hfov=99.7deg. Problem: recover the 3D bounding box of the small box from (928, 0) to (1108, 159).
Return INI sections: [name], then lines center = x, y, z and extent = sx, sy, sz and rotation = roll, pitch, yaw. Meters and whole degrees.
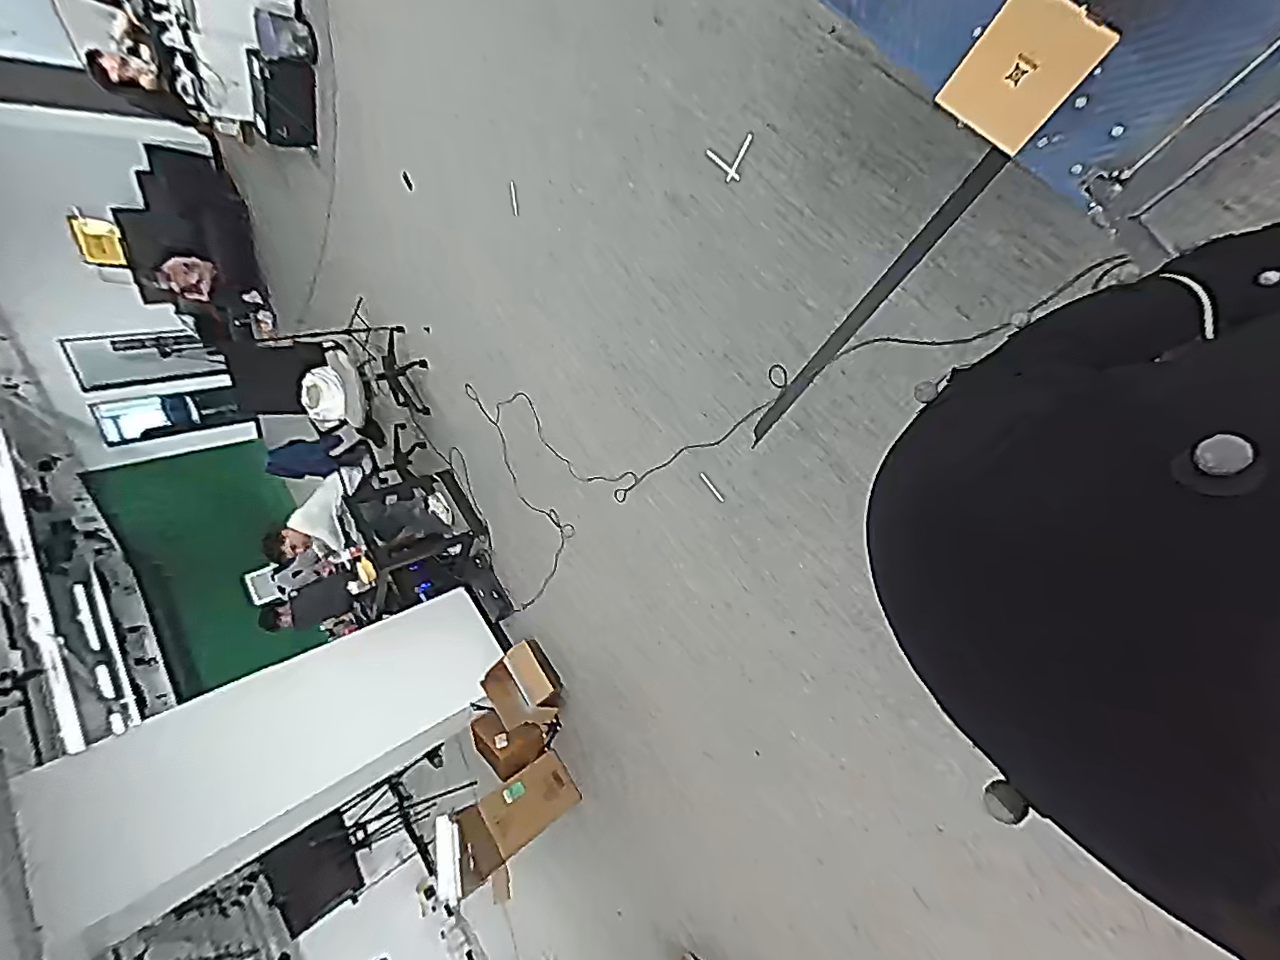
[small box]
center = 0.621, -0.673, 0.898
extent = 0.168, 0.176, 0.179
rotation = 40, 135, 5
